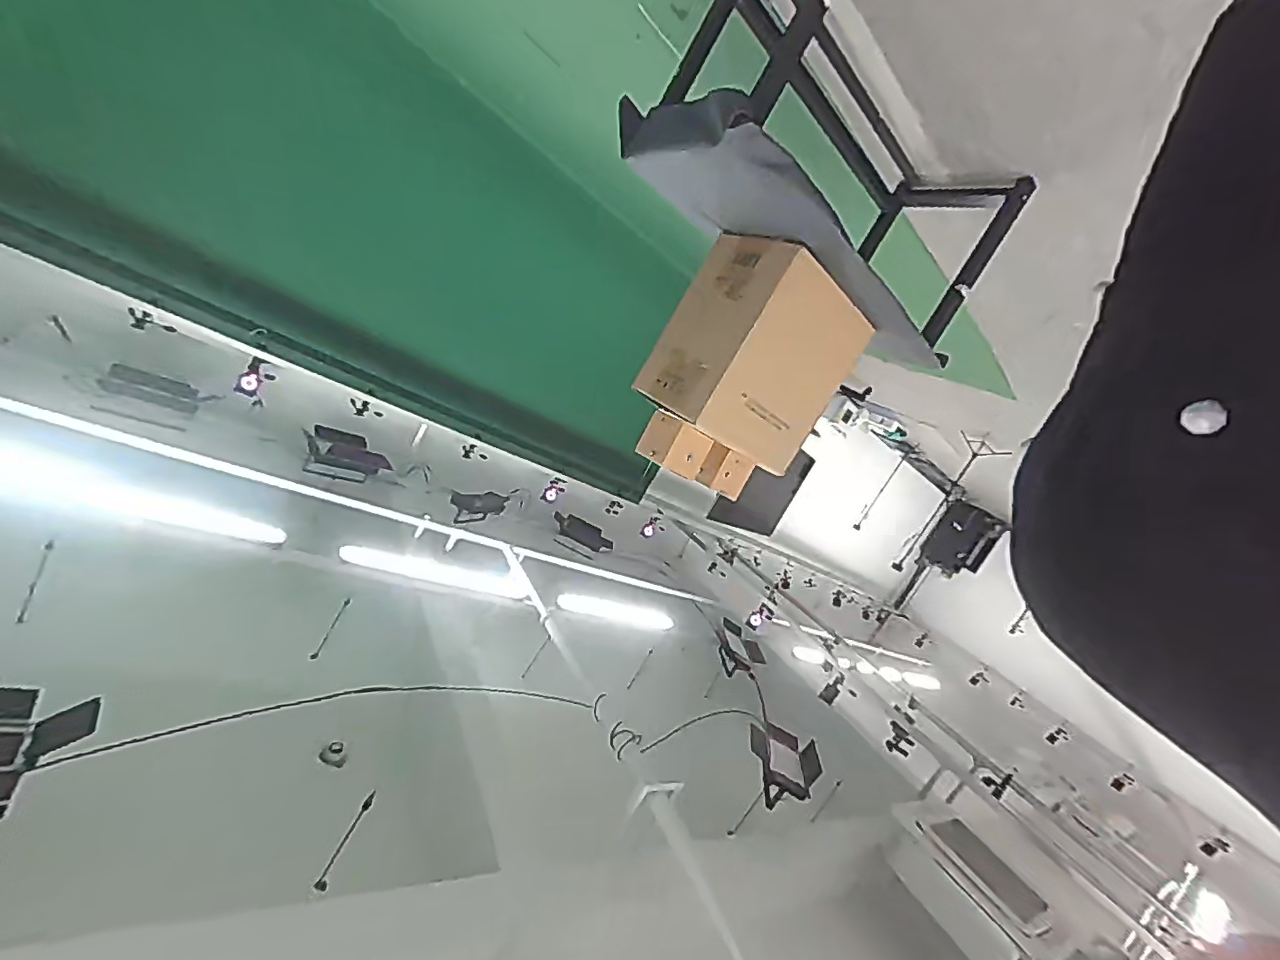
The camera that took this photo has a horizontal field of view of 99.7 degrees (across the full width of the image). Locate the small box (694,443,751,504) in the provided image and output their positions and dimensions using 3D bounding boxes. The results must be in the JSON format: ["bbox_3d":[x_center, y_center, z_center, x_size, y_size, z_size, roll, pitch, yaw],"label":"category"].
[{"bbox_3d":[0.307,-0.033,2.095,0.168,0.176,0.179,27,-174,-40],"label":"small box"}]

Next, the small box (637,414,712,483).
[{"bbox_3d":[0.127,-0.114,1.931,0.179,0.176,0.168,23,-173,-41],"label":"small box"}]
